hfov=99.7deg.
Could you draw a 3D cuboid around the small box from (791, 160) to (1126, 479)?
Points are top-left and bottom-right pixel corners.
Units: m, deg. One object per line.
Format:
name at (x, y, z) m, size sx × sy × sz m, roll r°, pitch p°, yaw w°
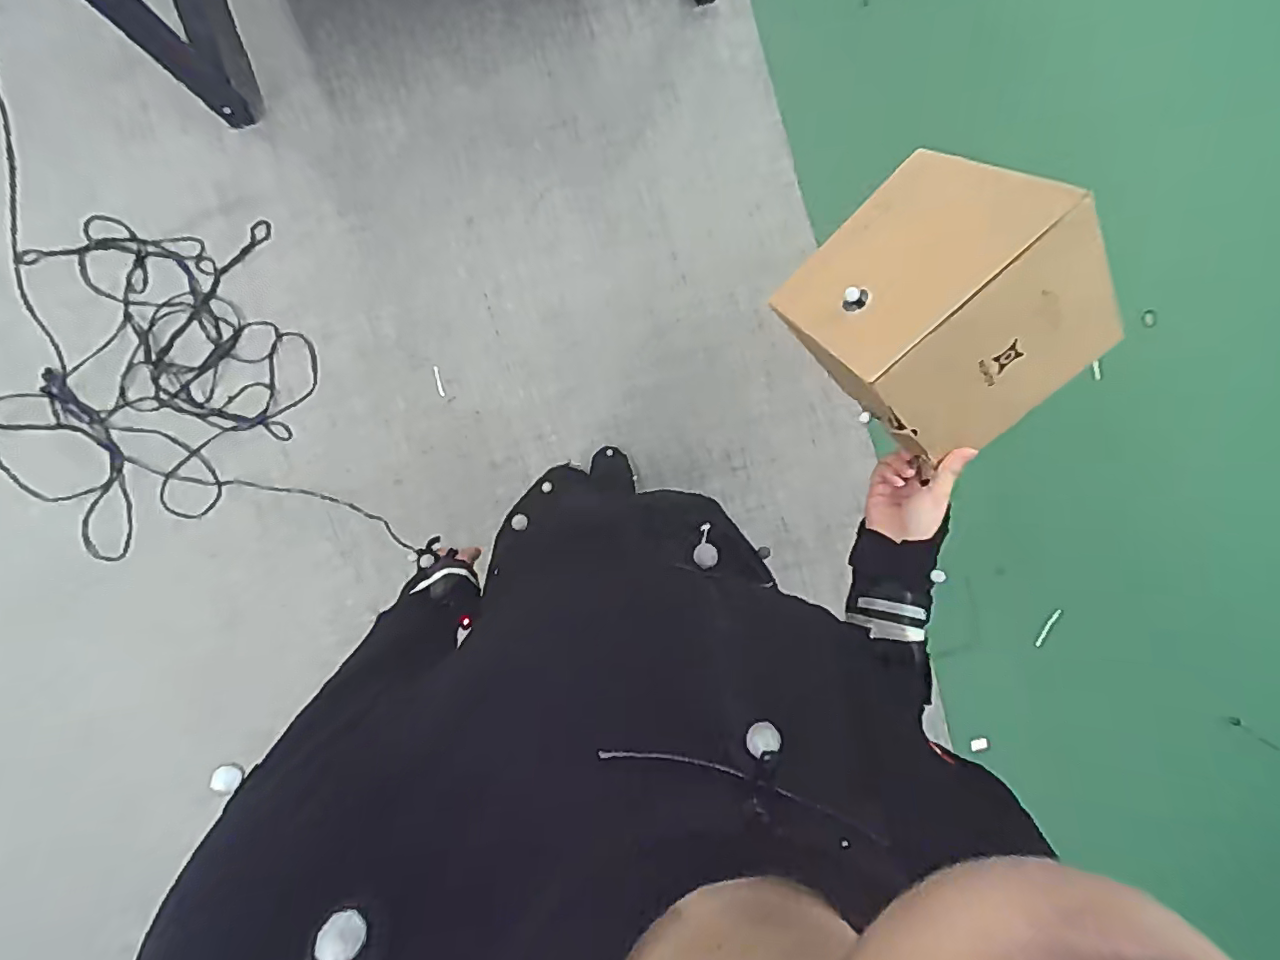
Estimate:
small box at (0.259, -0.140, 0.476) m, size 0.168 × 0.176 × 0.179 m, roll 31°, pitch 112°, yaw -37°
